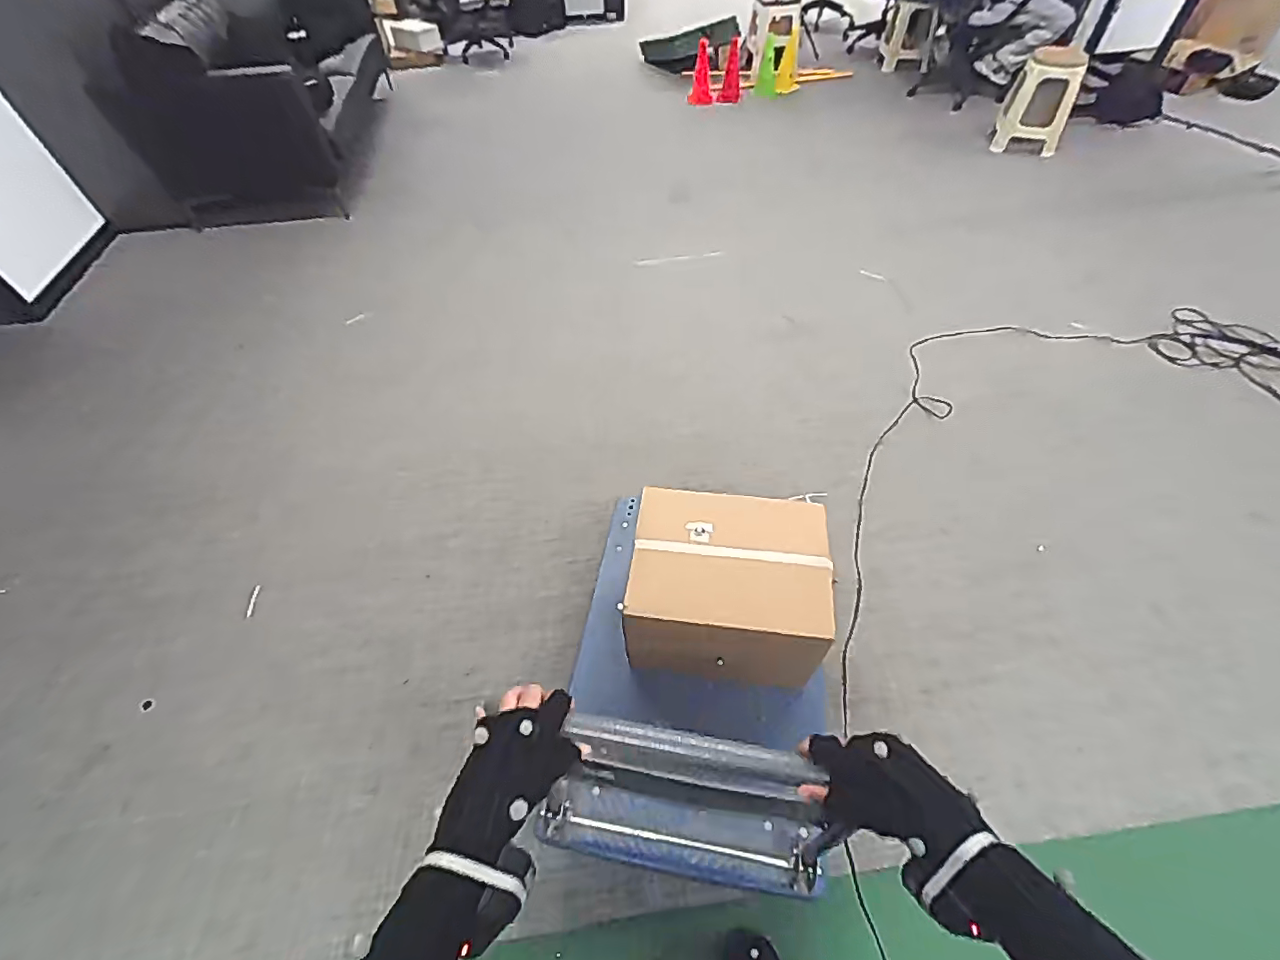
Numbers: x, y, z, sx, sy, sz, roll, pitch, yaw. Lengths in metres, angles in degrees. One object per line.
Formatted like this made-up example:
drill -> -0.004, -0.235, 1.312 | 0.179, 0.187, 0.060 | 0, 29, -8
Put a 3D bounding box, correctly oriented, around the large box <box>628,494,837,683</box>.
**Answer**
large box -> 0.200, 0.253, 1.240 | 0.408, 0.320, 0.320 | 4, 52, 7
